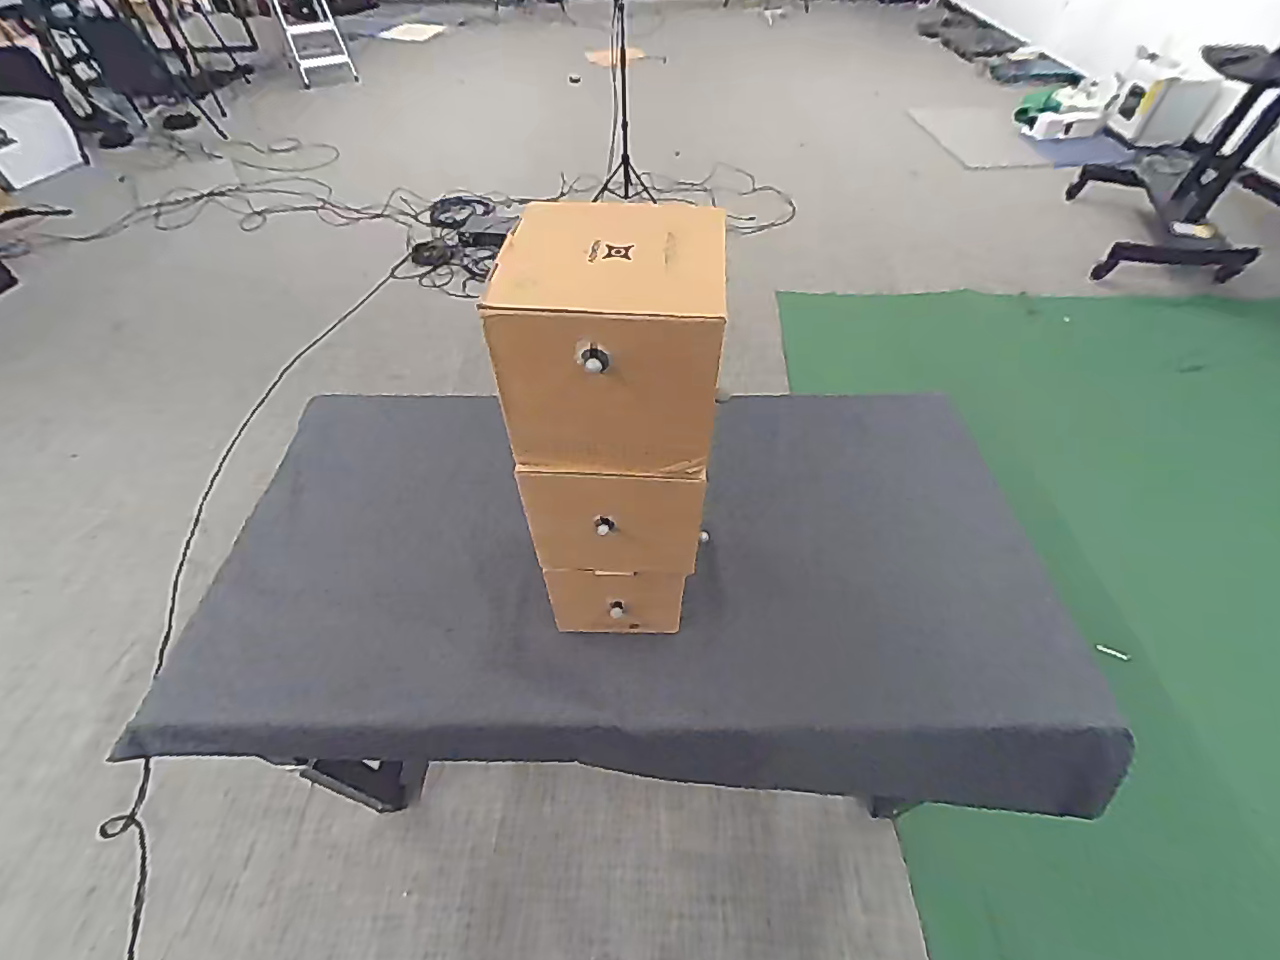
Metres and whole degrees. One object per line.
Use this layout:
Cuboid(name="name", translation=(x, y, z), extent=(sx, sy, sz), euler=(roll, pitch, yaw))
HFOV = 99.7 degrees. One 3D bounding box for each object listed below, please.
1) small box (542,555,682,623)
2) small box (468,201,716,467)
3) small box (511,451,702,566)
Cuboid(name="small box", translation=(-0.028, 0.083, 0.732), extent=(0.168, 0.176, 0.179), euler=(-1, 51, 1))
Cuboid(name="small box", translation=(-0.027, -0.125, 0.481), extent=(0.179, 0.176, 0.168), euler=(3, 51, 3))
Cuboid(name="small box", translation=(-0.025, -0.016, 0.600), extent=(0.179, 0.176, 0.168), euler=(1, 50, 4))
